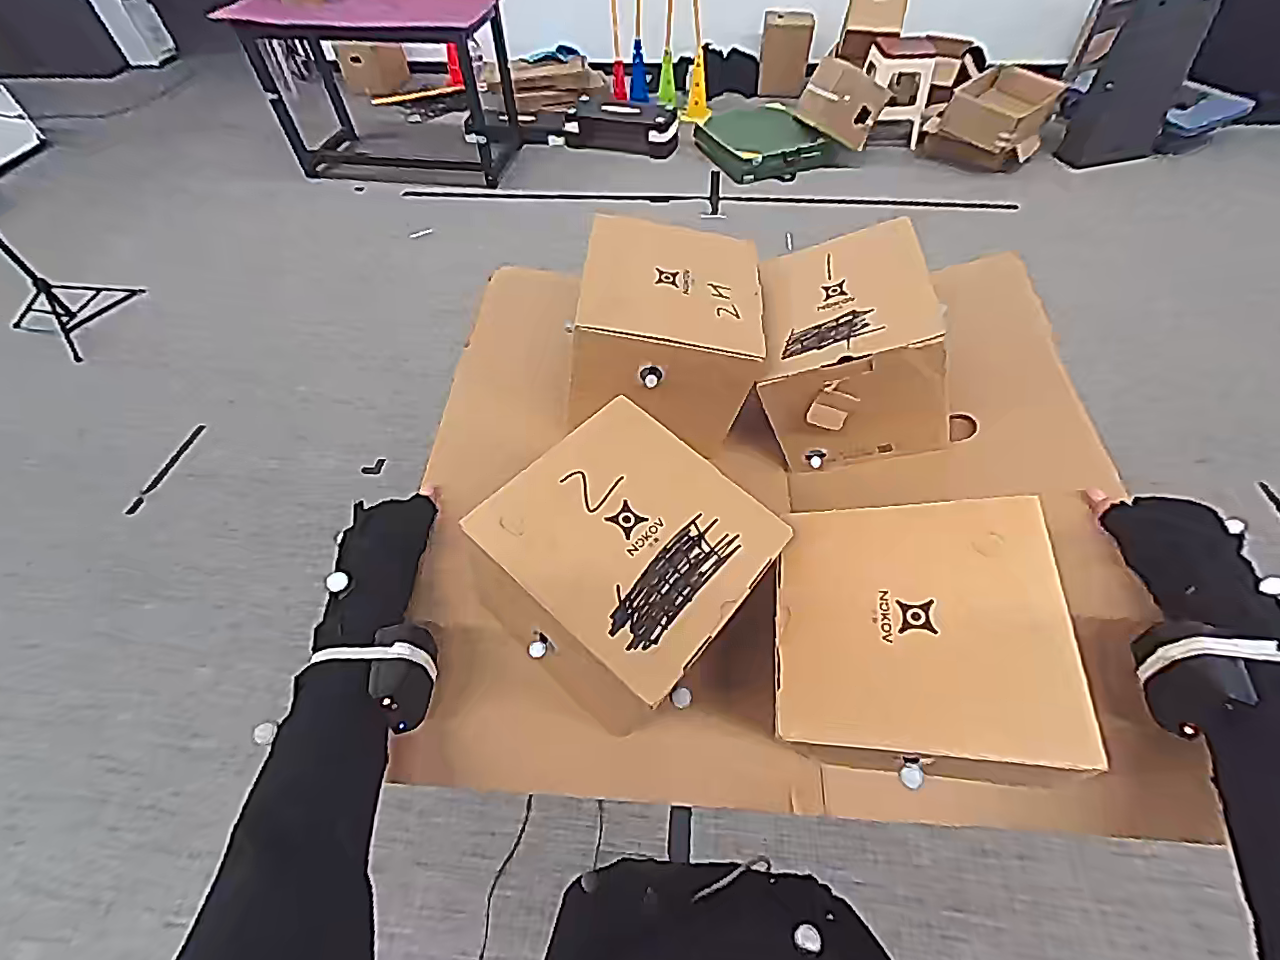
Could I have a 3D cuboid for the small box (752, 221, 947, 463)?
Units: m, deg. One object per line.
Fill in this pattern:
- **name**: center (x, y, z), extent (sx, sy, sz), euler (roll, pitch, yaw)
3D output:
- **small box**: center (0.226, -0.133, 0.588), extent (0.168, 0.176, 0.179), euler (-10, 54, 24)
